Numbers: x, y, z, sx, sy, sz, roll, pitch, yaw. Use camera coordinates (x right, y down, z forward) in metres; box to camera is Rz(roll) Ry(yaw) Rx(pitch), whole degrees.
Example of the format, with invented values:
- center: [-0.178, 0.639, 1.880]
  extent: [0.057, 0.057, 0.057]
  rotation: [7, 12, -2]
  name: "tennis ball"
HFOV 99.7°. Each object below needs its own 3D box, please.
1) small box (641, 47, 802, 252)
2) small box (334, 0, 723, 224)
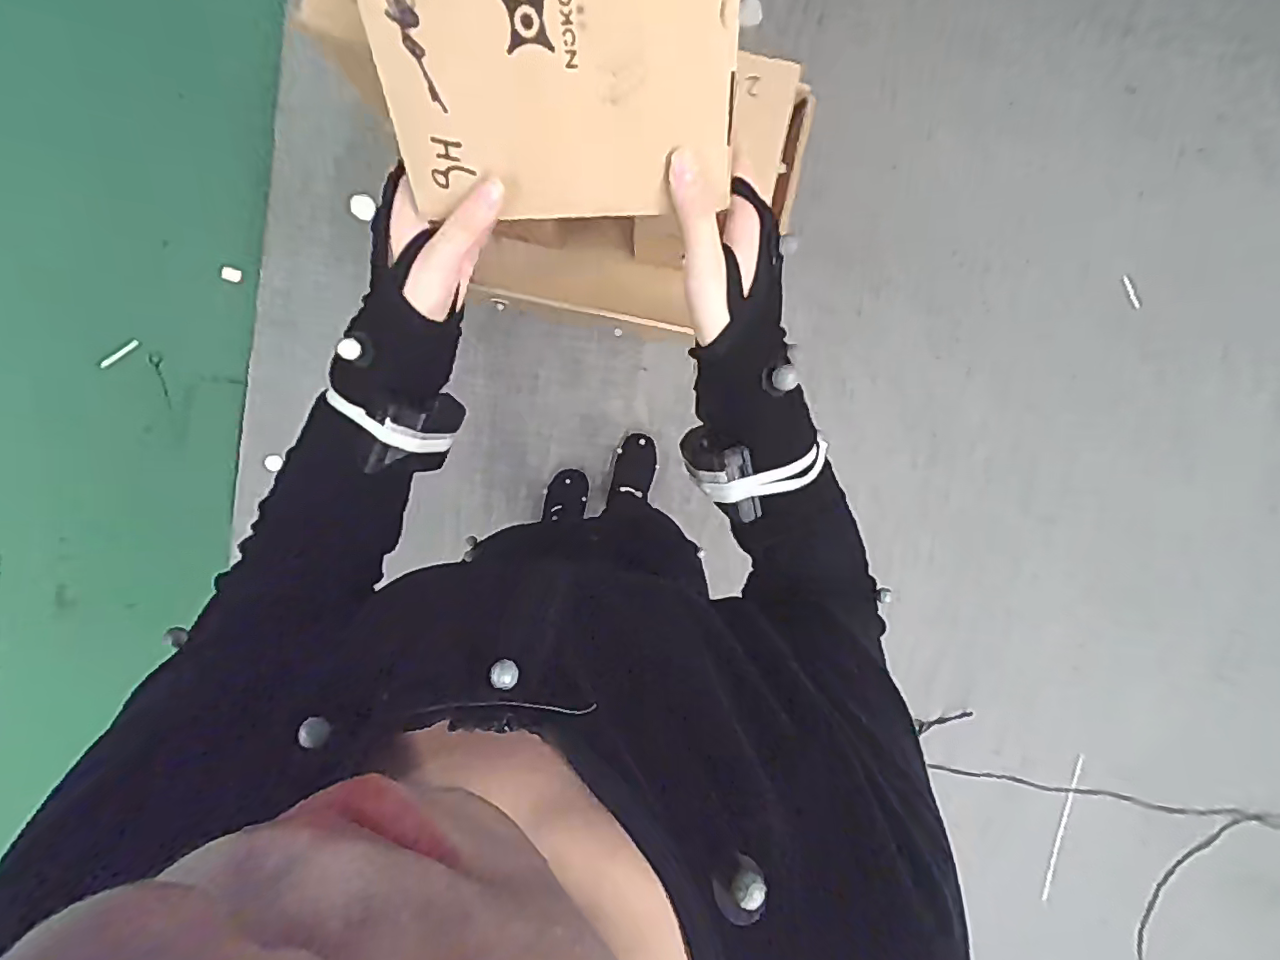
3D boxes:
- center: [0.093, -0.425, 0.716]
  extent: [0.168, 0.176, 0.179]
  rotation: [12, 97, -2]
  name: "small box"
- center: [-0.045, -0.257, 0.305]
  extent: [0.179, 0.176, 0.168]
  rotation: [1, 130, 5]
  name: "small box"
